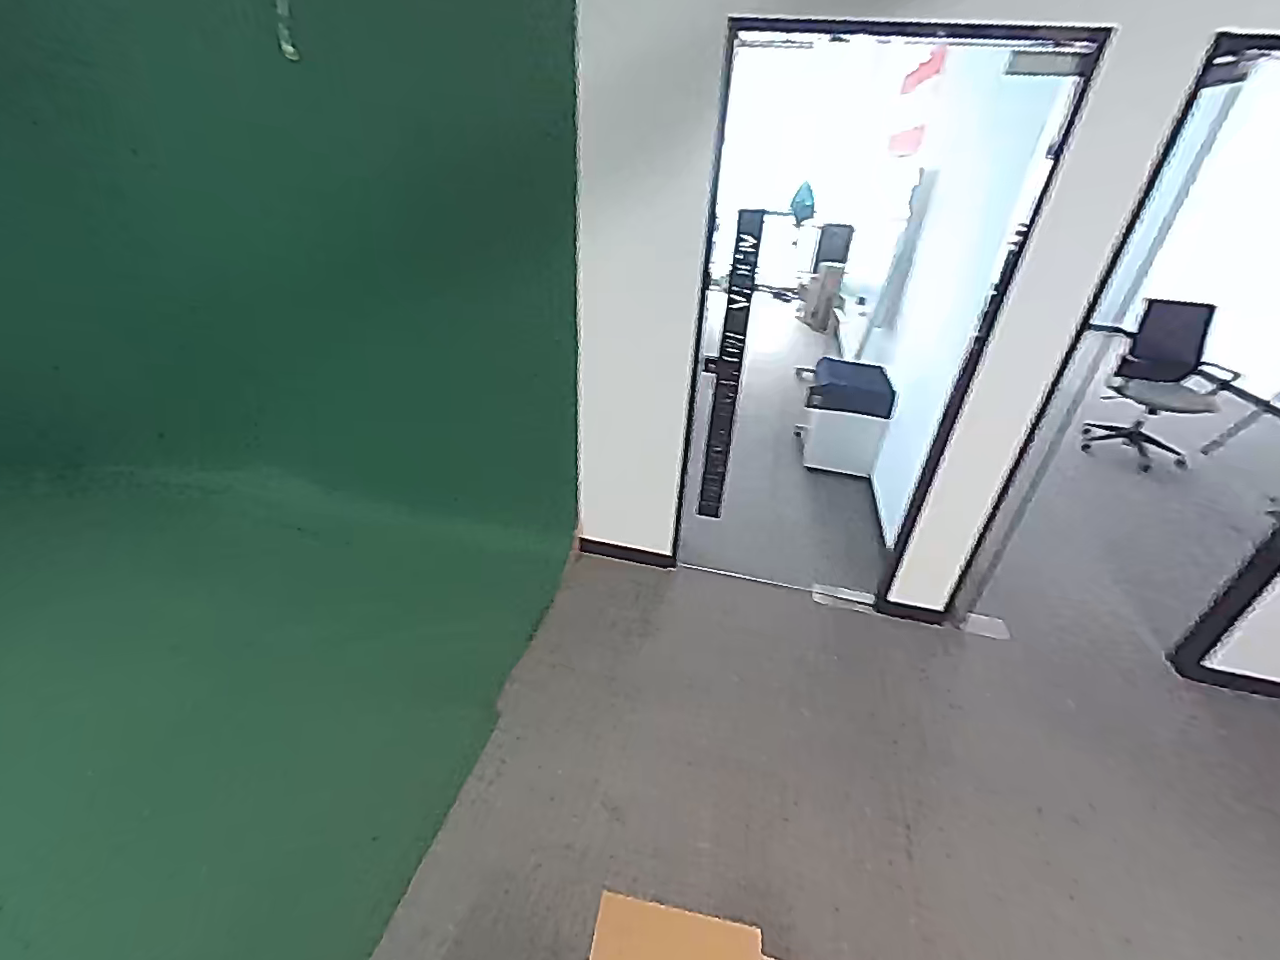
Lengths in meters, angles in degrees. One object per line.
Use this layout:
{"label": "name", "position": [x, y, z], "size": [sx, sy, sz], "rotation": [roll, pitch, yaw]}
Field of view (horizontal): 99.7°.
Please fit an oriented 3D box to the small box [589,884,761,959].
{"label": "small box", "position": [0.019, 0.547, 0.532], "size": [0.168, 0.176, 0.179], "rotation": [9, 37, 6]}
